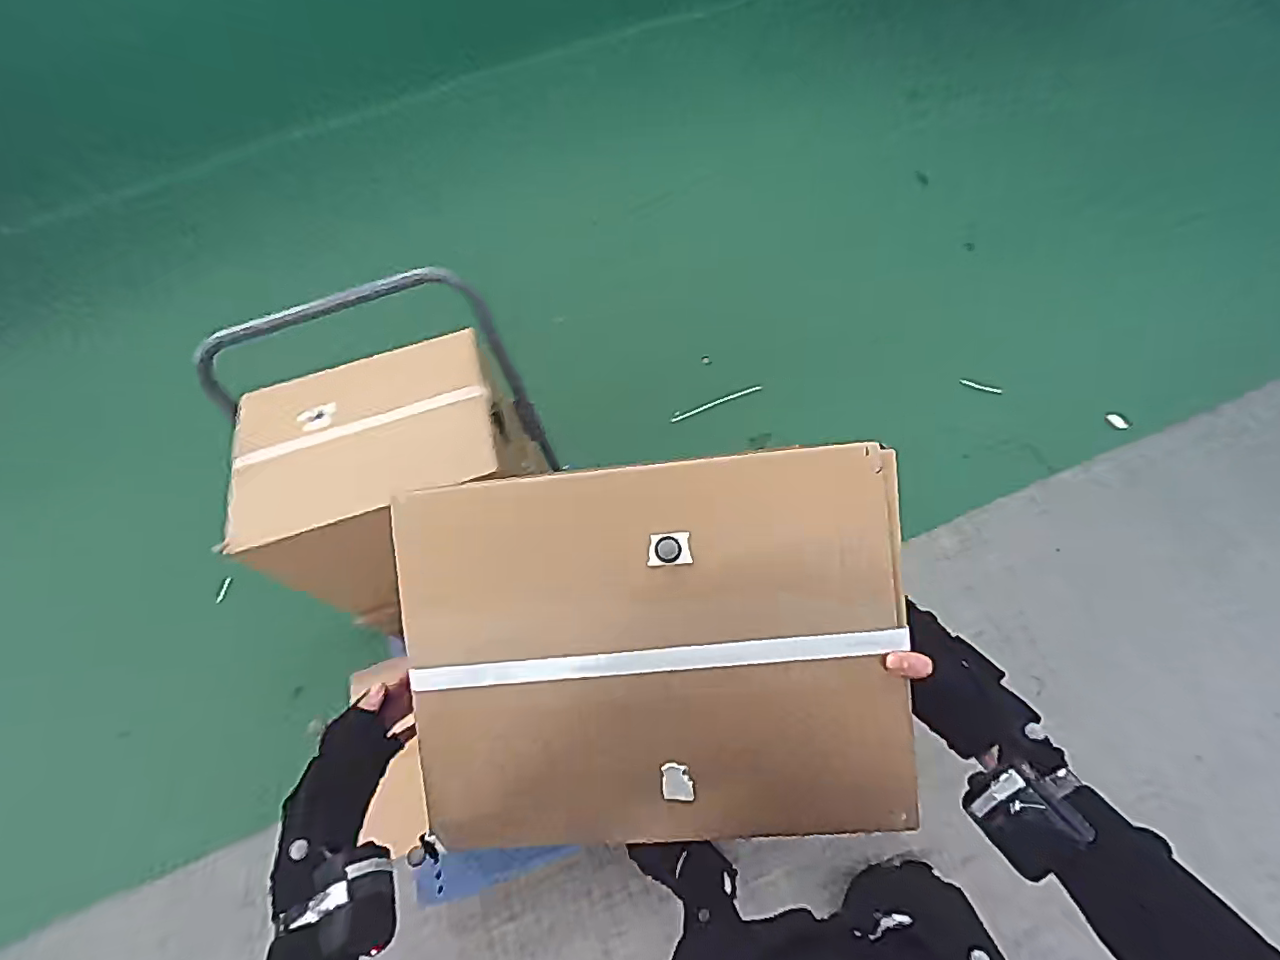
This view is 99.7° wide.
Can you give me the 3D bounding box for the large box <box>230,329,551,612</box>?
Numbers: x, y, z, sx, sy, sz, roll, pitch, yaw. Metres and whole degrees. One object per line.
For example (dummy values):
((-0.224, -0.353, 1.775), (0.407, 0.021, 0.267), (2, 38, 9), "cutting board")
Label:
((-0.418, -0.002, 0.975), (0.408, 0.320, 0.320), (-18, 59, -2), "large box")
